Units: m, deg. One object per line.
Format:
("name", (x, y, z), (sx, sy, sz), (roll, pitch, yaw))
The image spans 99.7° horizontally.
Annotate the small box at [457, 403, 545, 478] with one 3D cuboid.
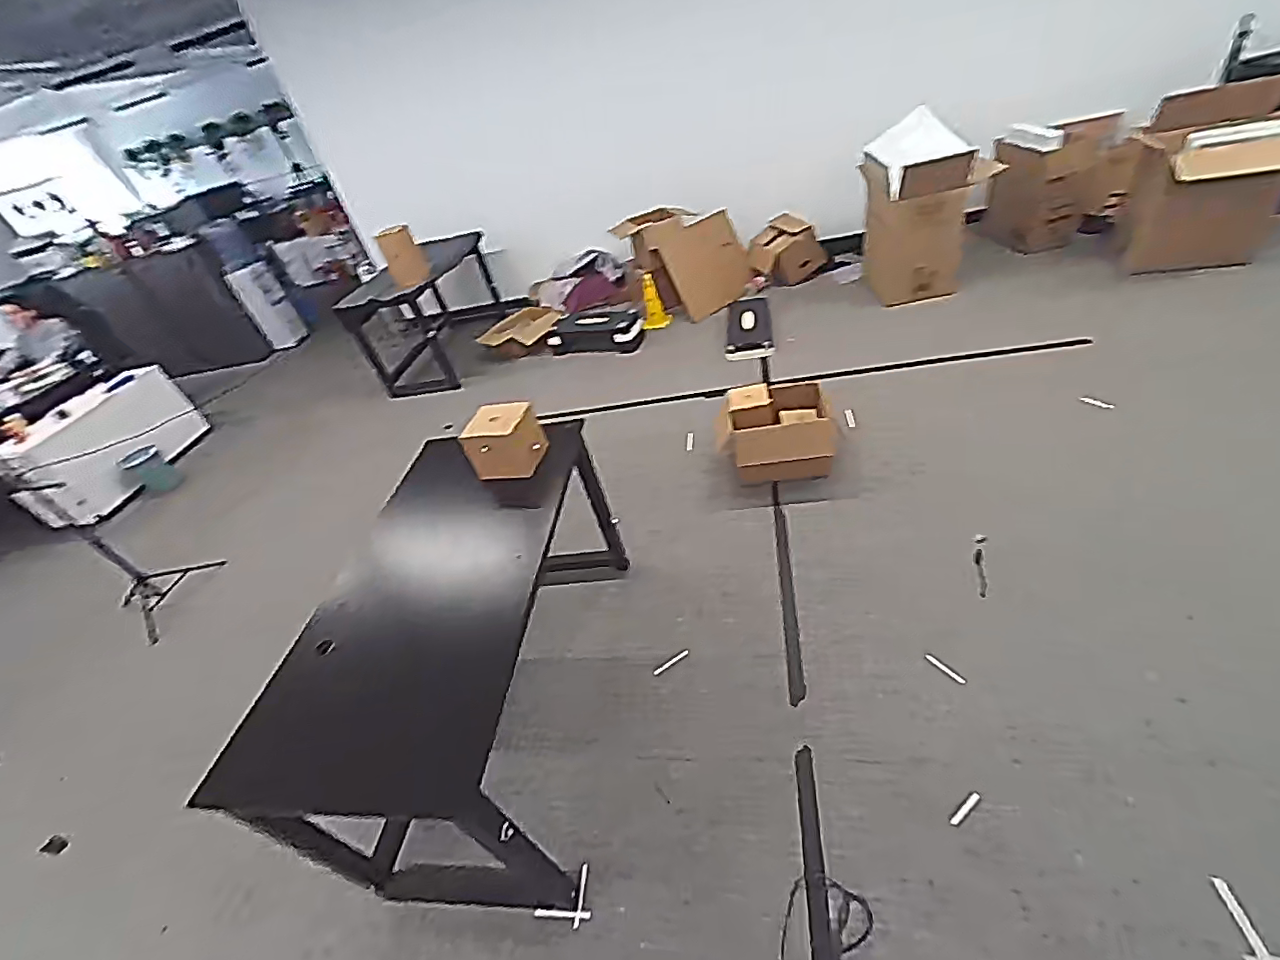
("small box", (-0.421, -0.117, 1.664), (0.179, 0.176, 0.168), (-1, 42, 18))
